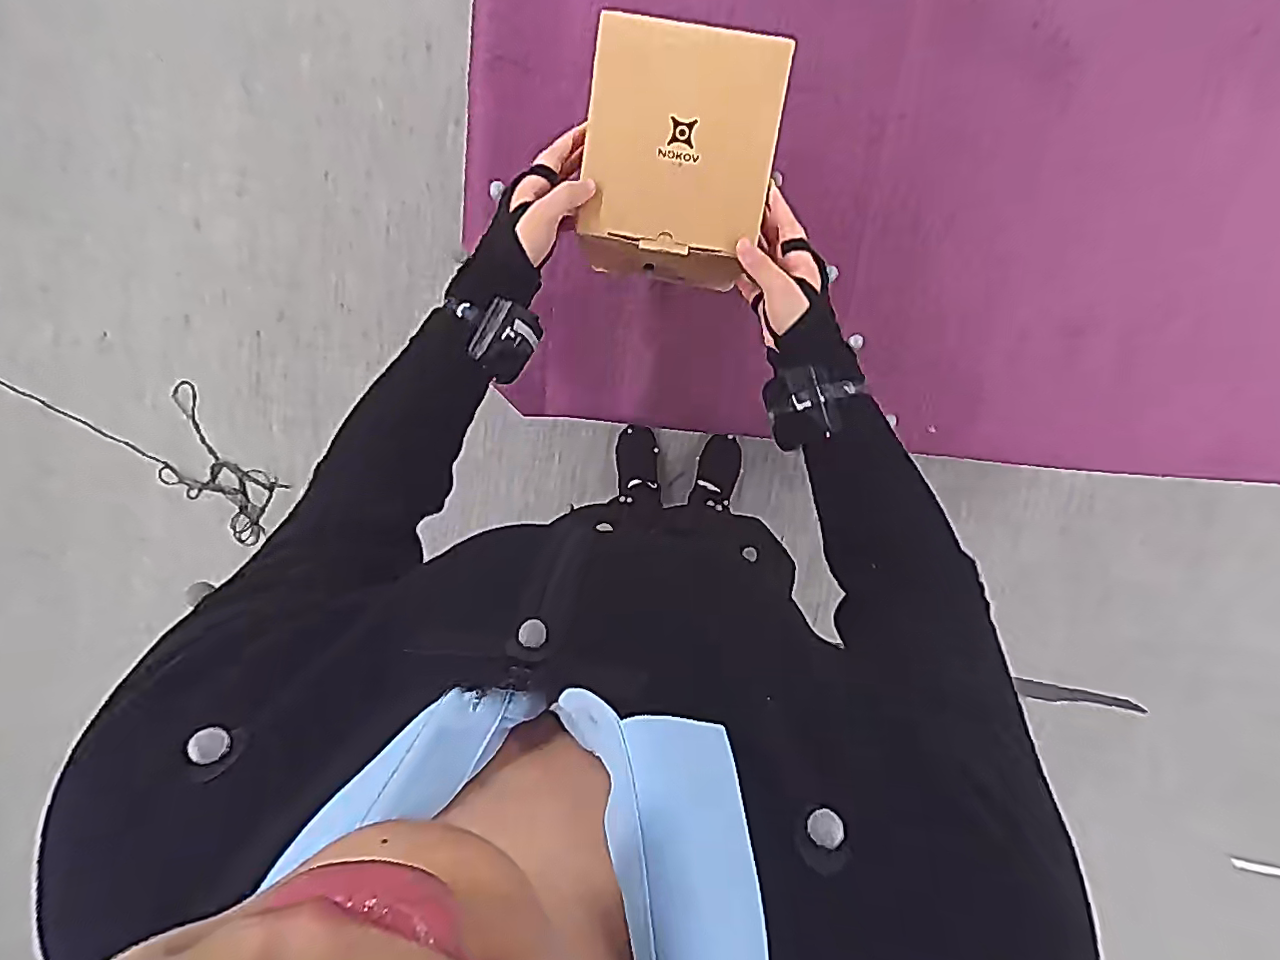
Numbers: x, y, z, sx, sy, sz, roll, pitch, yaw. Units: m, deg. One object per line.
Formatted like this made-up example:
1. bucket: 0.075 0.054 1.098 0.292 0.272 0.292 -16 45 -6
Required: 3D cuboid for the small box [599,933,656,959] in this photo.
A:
1. small box: -0.045 1.488 1.586 0.168 0.176 0.179 4 99 6
